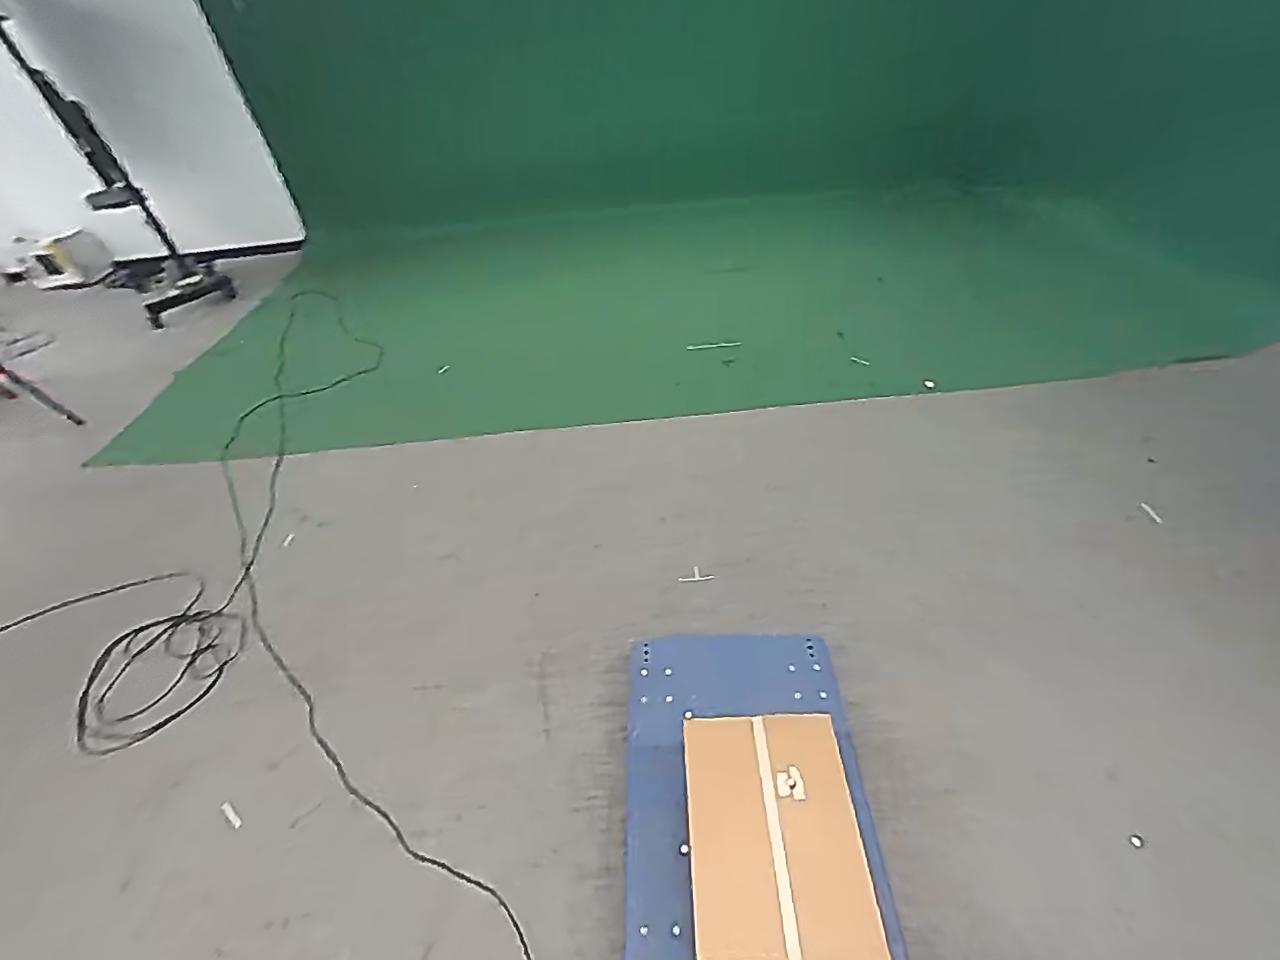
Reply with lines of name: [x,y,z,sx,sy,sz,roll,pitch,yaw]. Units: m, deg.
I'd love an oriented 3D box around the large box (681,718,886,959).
large box: [0.258,0.764,1.119,0.320,0.320,0.408,-3,42,3]
